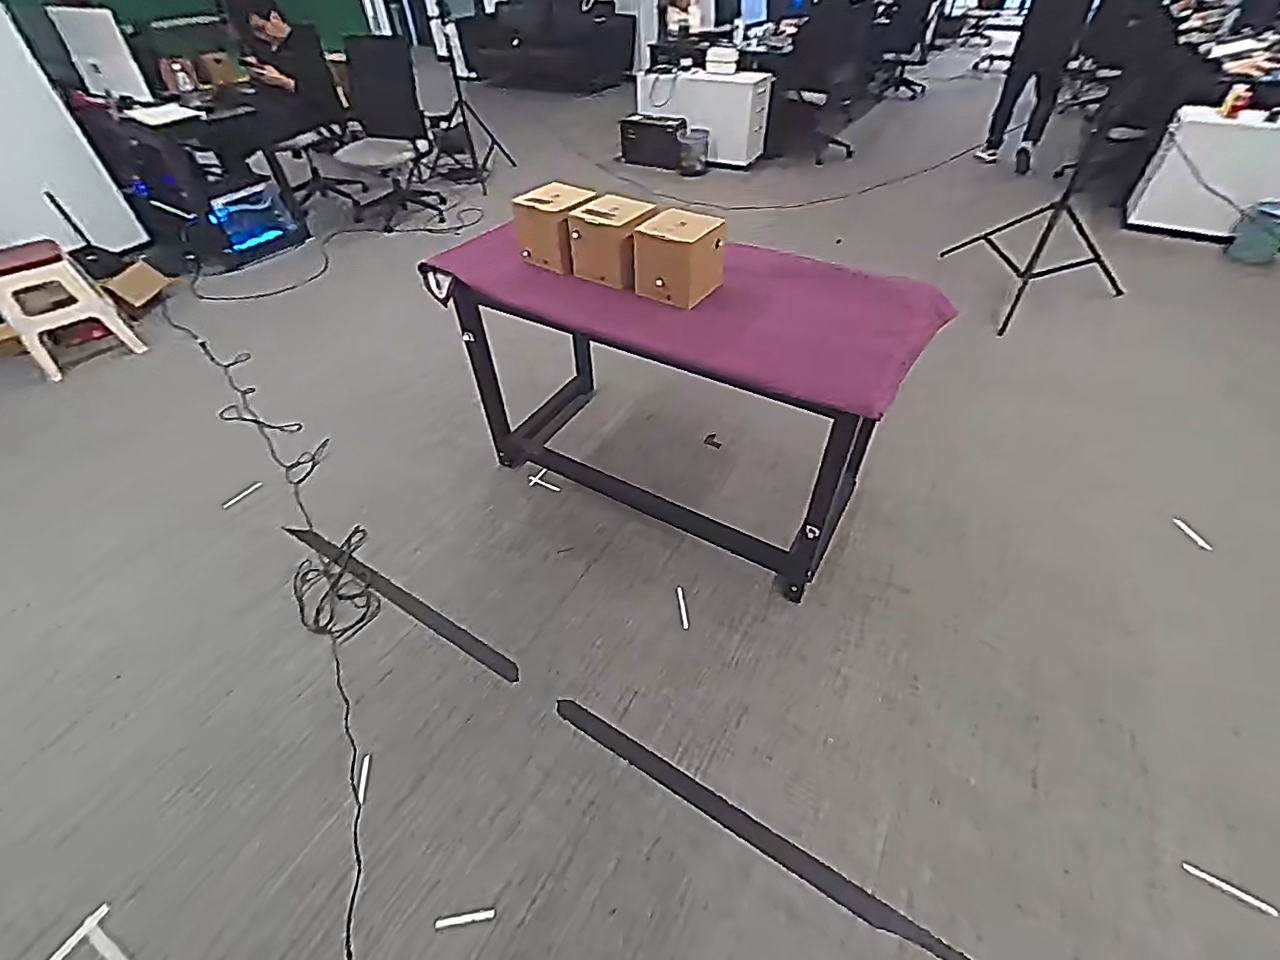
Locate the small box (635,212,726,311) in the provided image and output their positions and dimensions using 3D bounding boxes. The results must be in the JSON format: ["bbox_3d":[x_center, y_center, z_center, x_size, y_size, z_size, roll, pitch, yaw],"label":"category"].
[{"bbox_3d":[0.102,-0.559,1.381,0.168,0.176,0.179,24,51,25],"label":"small box"}]
